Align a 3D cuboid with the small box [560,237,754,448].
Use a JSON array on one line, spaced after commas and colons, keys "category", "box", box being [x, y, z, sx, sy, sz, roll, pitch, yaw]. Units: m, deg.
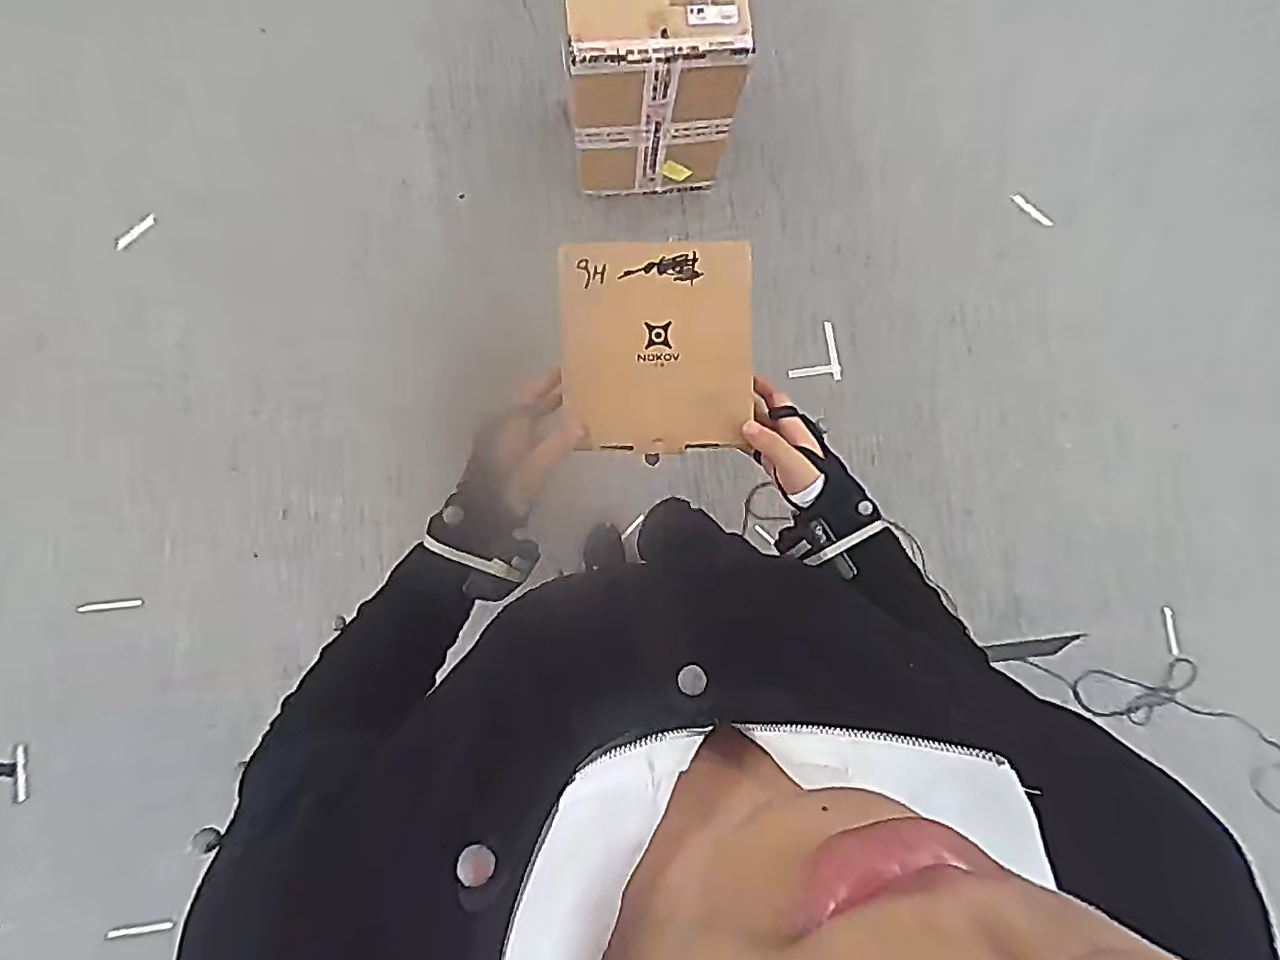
[{"category": "small box", "box": [0.013, -0.124, 0.539, 0.168, 0.176, 0.179, -2, 95, -2]}]
